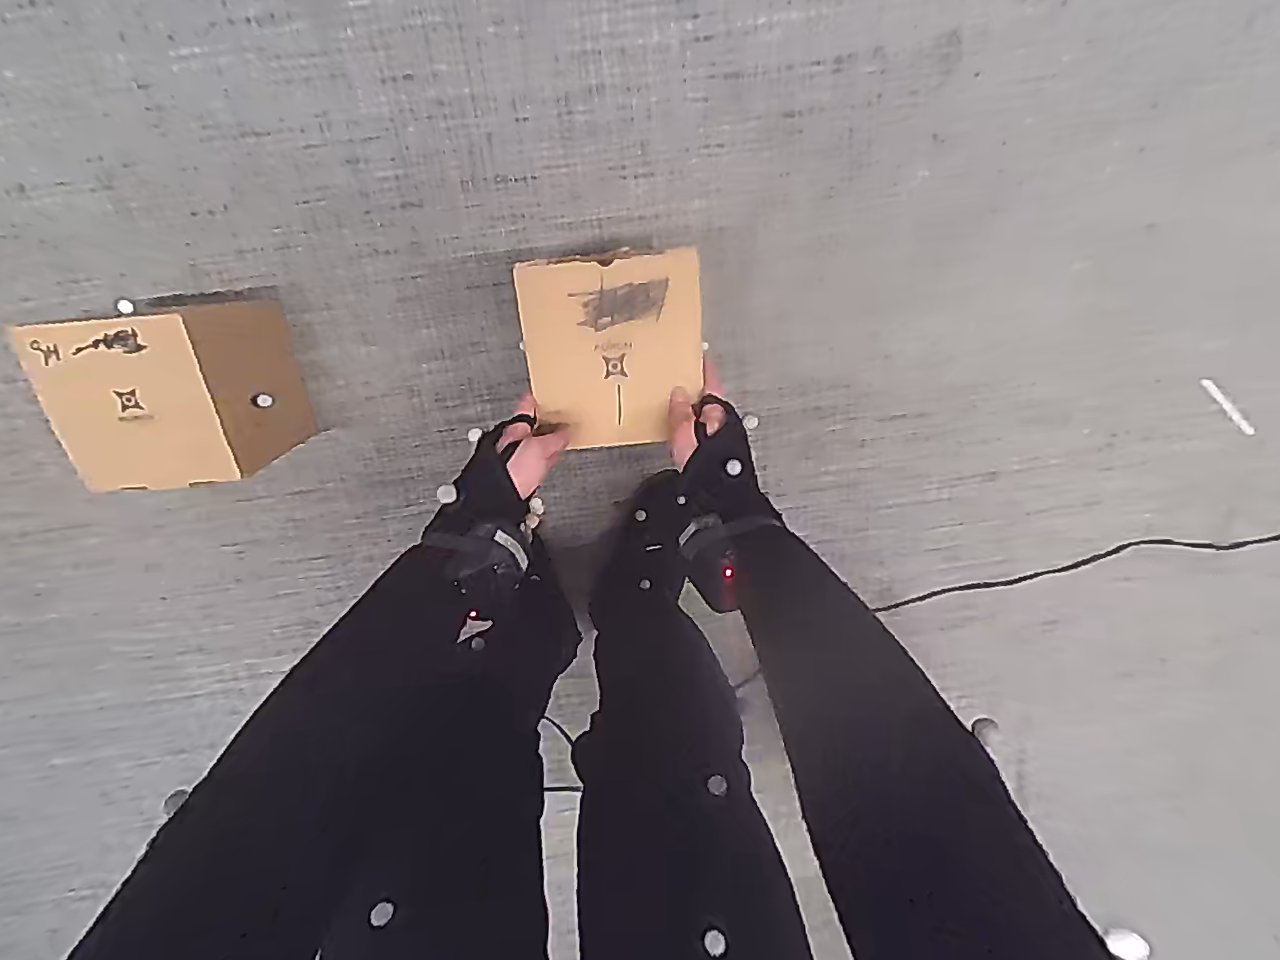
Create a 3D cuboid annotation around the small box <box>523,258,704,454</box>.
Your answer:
[{"bbox_3d":[-0.024,-0.141,0.596,0.168,0.176,0.179,-5,111,0],"label":"small box"}]

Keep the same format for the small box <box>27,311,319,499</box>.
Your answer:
[{"bbox_3d":[-0.511,-0.094,0.630,0.168,0.176,0.179,-5,112,-2],"label":"small box"}]
